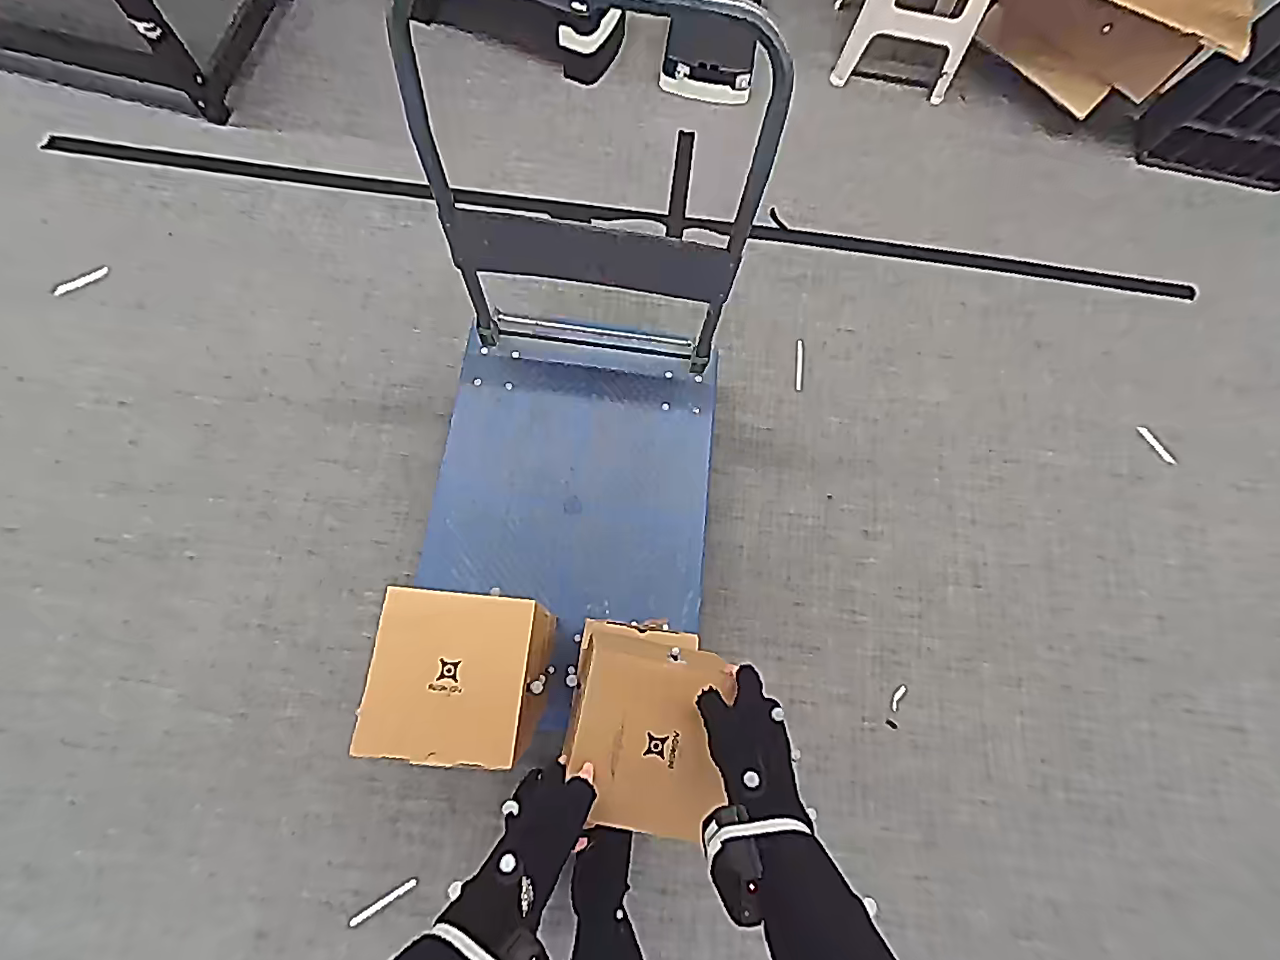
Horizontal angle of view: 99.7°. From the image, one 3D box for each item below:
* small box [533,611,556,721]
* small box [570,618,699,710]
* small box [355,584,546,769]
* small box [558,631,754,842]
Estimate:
[{"bbox_3d":[-0.245,0.320,0.971,0.168,0.176,0.179,6,73,-4],"label":"small box"},{"bbox_3d":[-0.015,0.312,0.820,0.168,0.176,0.179,9,74,-2],"label":"small box"},{"bbox_3d":[-0.210,0.230,0.657,0.168,0.176,0.179,7,74,-3],"label":"small box"},{"bbox_3d":[0.011,0.282,0.633,0.179,0.176,0.168,14,80,-4],"label":"small box"}]
